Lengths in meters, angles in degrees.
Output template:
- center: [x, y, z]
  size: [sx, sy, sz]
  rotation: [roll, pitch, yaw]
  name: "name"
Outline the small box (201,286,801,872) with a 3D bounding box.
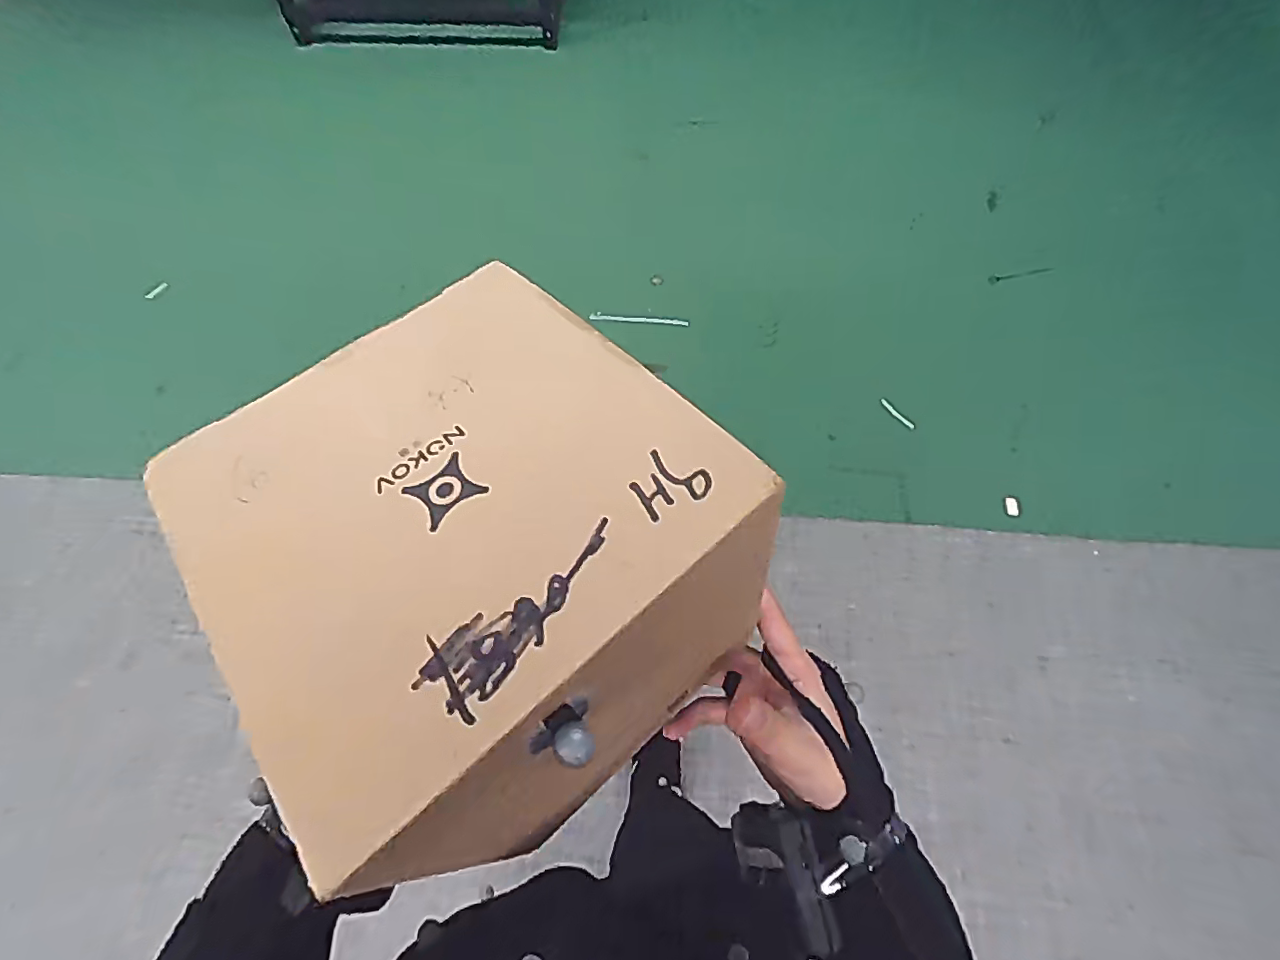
- center: [-0.051, 0.047, 0.265]
  size: [0.168, 0.176, 0.179]
  rotation: [-40, 61, -15]
  name: "small box"
